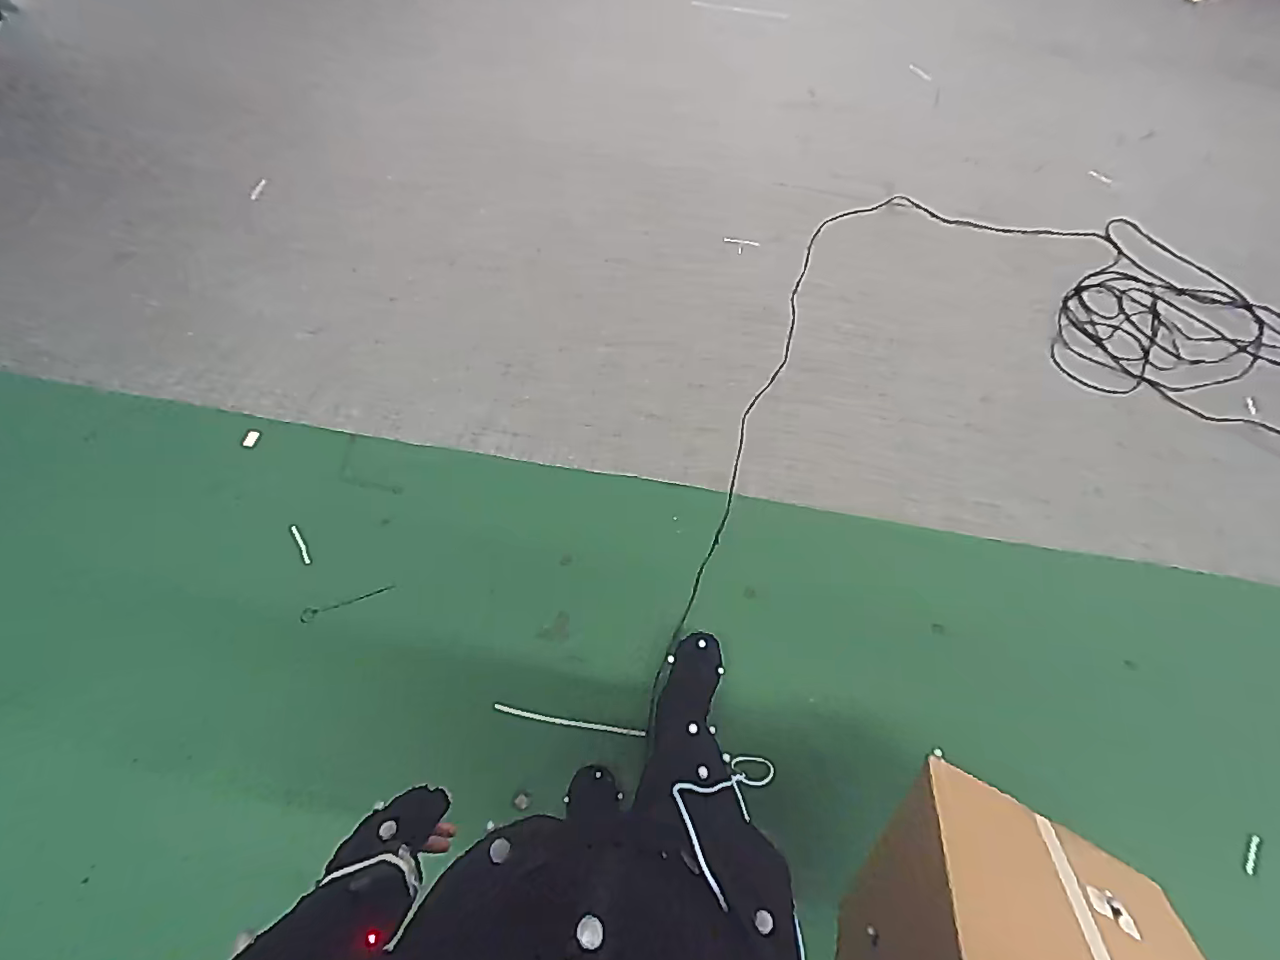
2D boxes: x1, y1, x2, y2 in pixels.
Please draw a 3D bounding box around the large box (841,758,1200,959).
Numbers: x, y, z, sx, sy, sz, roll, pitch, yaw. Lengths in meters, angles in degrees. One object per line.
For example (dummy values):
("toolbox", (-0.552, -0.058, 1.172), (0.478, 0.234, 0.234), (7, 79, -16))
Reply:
("large box", (0.445, 0.644, 0.641), (0.320, 0.408, 0.320), (27, 104, 19))
